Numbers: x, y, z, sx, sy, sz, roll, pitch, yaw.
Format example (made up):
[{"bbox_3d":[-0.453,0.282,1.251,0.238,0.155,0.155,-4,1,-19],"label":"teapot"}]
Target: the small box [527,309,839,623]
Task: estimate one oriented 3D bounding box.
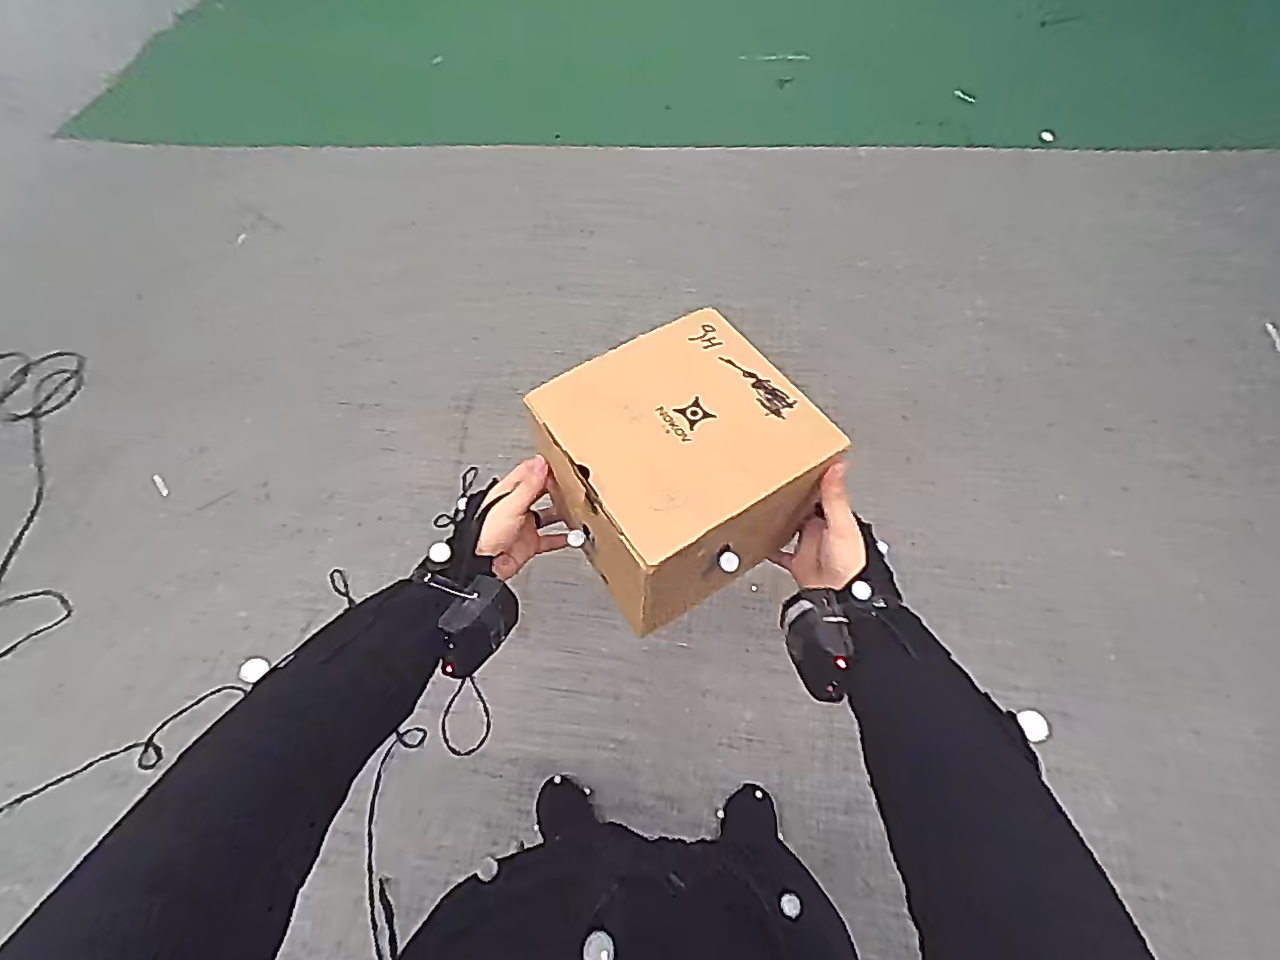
[{"bbox_3d":[0.030,-0.004,0.464,0.179,0.176,0.168,-30,65,-16],"label":"small box"}]
